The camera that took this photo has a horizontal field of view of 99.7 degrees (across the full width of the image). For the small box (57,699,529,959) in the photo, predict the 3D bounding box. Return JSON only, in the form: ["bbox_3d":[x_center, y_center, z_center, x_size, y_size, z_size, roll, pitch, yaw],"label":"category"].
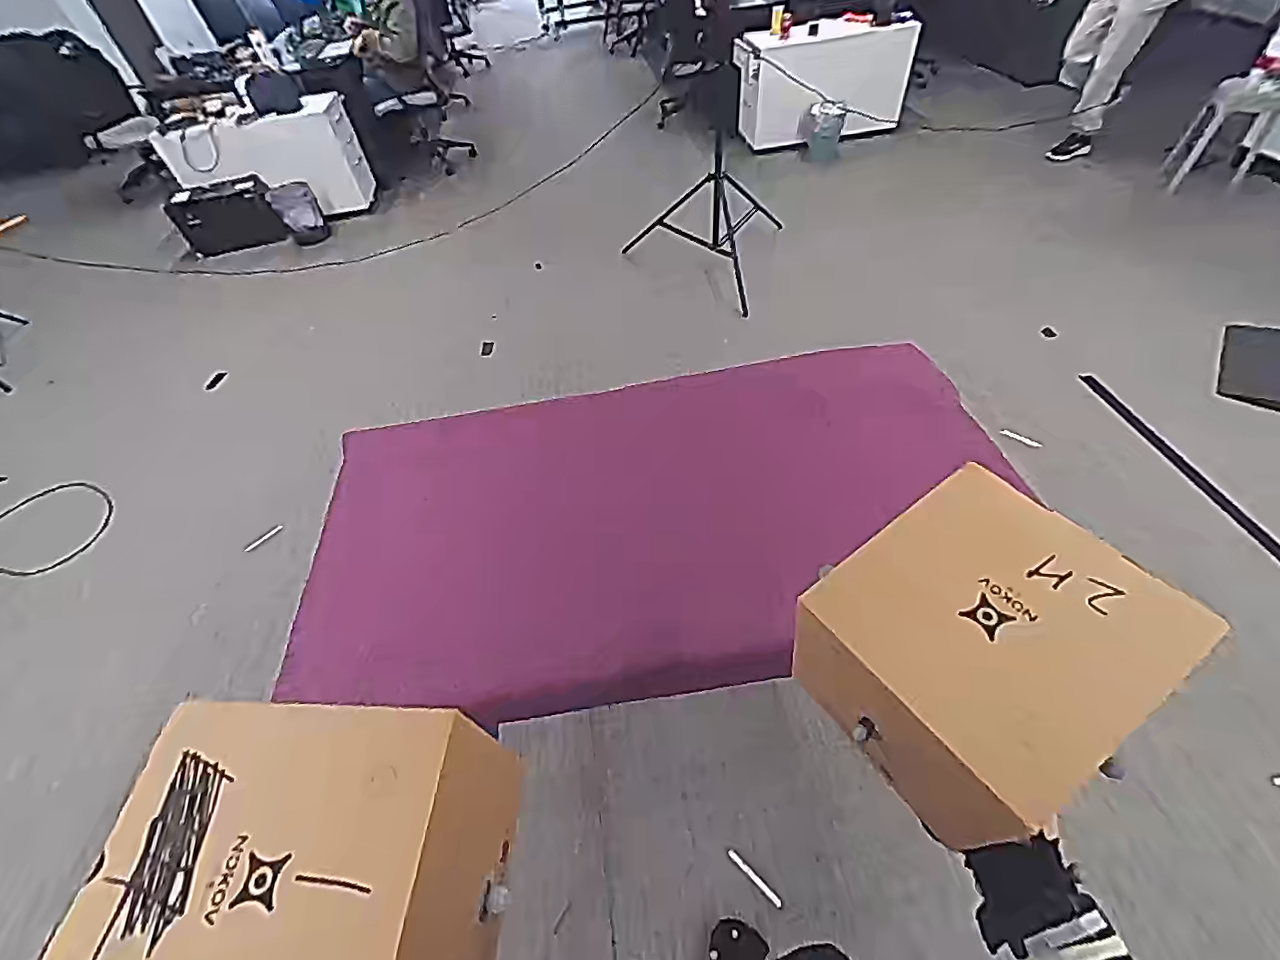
[{"bbox_3d":[-0.183,0.246,0.335,0.179,0.176,0.168,0,53,4],"label":"small box"}]

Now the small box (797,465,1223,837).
[{"bbox_3d":[0.237,0.130,0.400,0.179,0.176,0.168,-34,54,-13],"label":"small box"}]
